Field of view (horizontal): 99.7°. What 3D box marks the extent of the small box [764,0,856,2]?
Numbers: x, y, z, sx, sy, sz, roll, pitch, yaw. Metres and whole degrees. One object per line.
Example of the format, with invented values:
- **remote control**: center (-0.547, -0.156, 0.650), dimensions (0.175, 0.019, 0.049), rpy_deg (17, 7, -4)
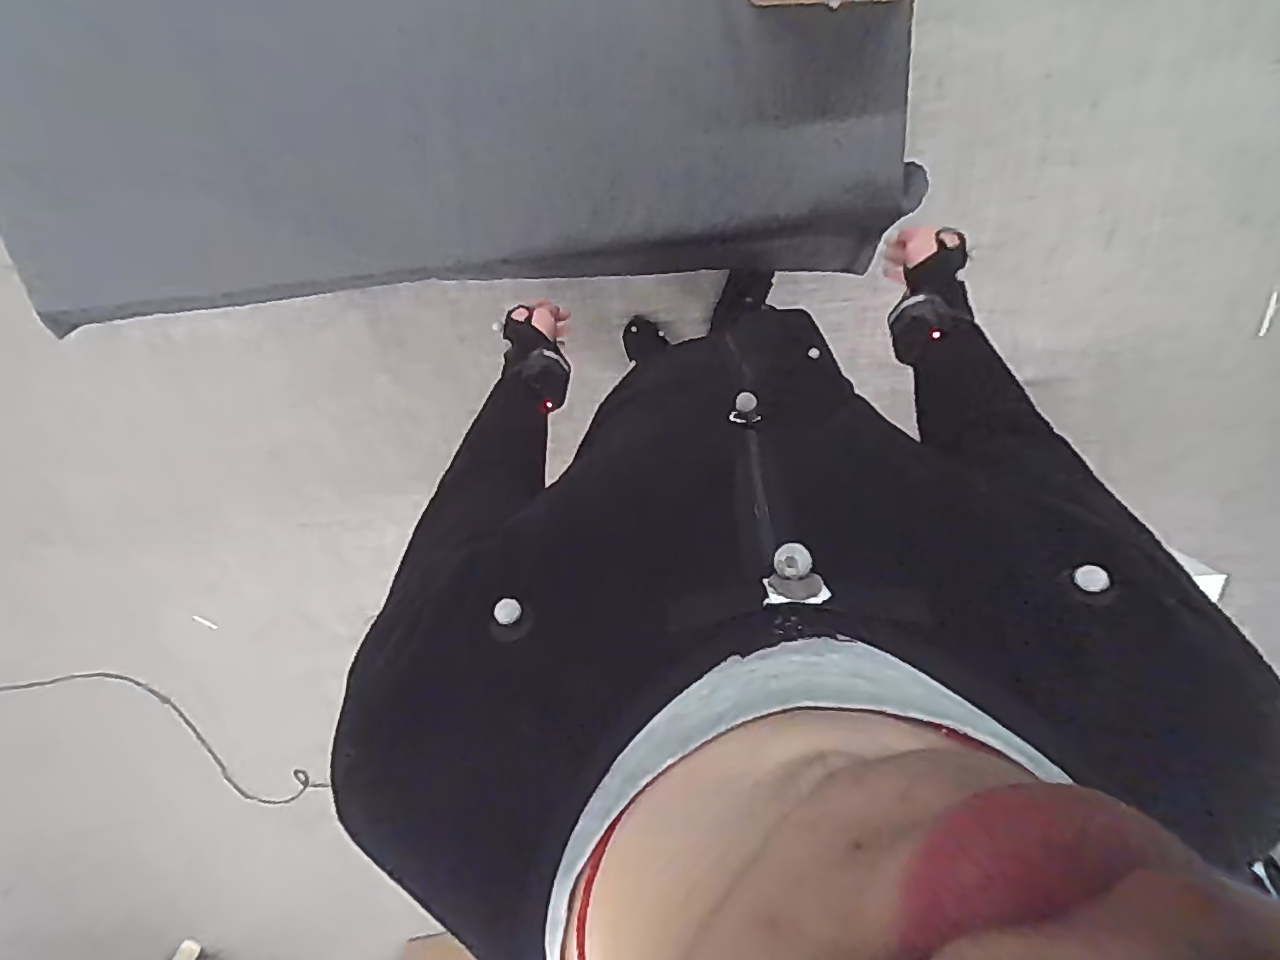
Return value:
- **small box**: center (0.213, -0.592, 0.513), dimensions (0.179, 0.176, 0.168), rpy_deg (-1, 111, 1)
